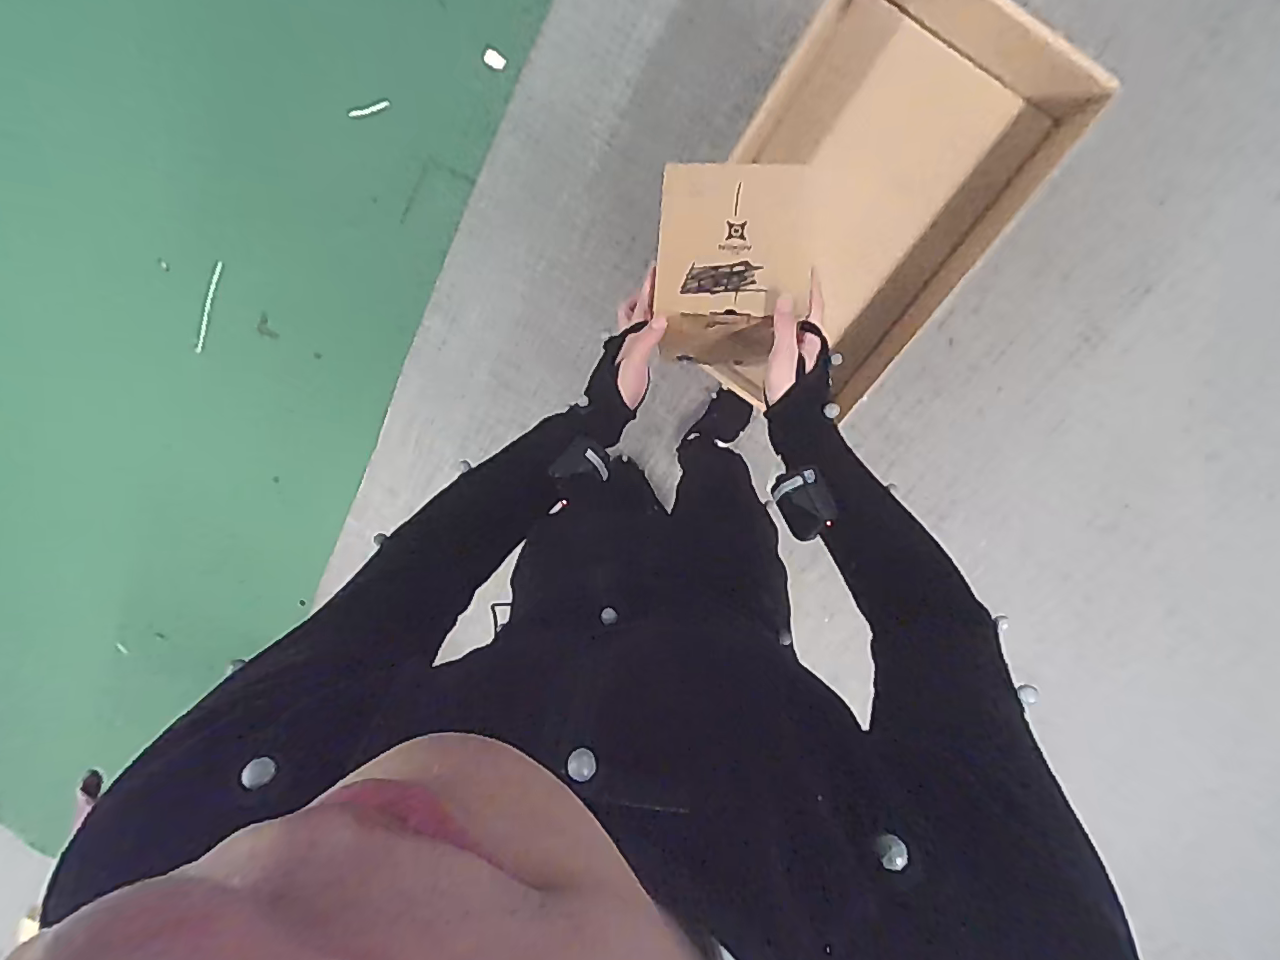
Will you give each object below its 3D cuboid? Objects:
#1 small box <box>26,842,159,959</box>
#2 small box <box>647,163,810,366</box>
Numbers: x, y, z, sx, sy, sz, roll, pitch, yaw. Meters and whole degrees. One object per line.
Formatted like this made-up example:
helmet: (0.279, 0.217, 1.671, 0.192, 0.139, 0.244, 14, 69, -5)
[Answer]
small box: (-1.393, 1.082, 1.386, 0.168, 0.176, 0.179, 36, 113, -2)
small box: (0.104, -0.245, 0.652, 0.168, 0.176, 0.179, 3, 83, 7)
